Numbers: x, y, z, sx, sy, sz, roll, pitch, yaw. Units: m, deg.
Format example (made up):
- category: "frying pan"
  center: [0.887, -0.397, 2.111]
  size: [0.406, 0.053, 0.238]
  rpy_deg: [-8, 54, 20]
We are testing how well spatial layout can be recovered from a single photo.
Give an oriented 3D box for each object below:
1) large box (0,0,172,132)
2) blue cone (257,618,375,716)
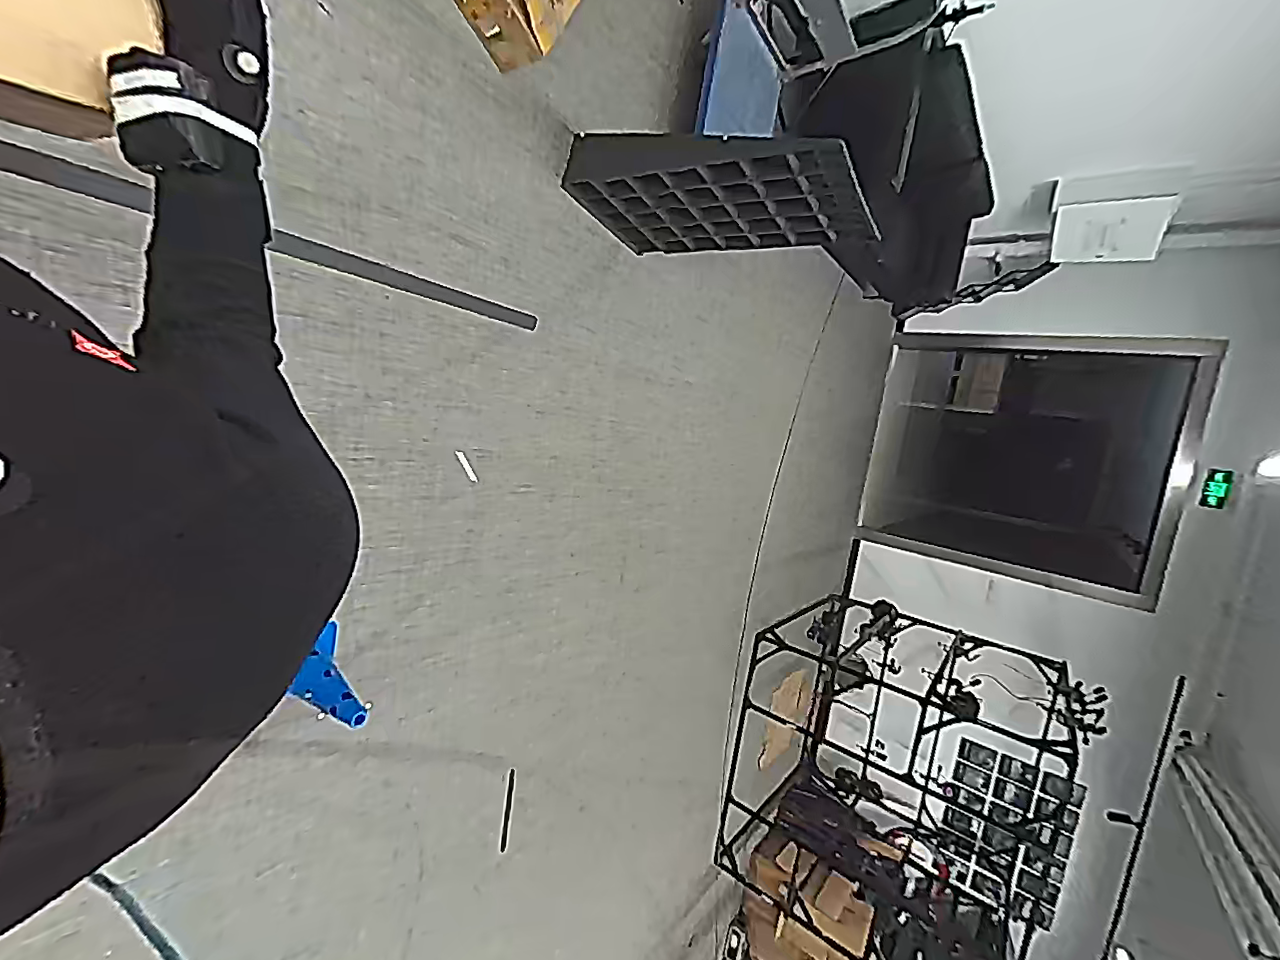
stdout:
- category: "large box"
  center: [-0.555, -0.428, 0.279]
  size: [0.408, 0.320, 0.320]
  rpy_deg: [-11, 118, -53]
- category: "blue cone"
  center: [-0.811, 0.516, 1.397]
  size: [0.192, 0.380, 0.193]
  rpy_deg: [6, 97, -56]
